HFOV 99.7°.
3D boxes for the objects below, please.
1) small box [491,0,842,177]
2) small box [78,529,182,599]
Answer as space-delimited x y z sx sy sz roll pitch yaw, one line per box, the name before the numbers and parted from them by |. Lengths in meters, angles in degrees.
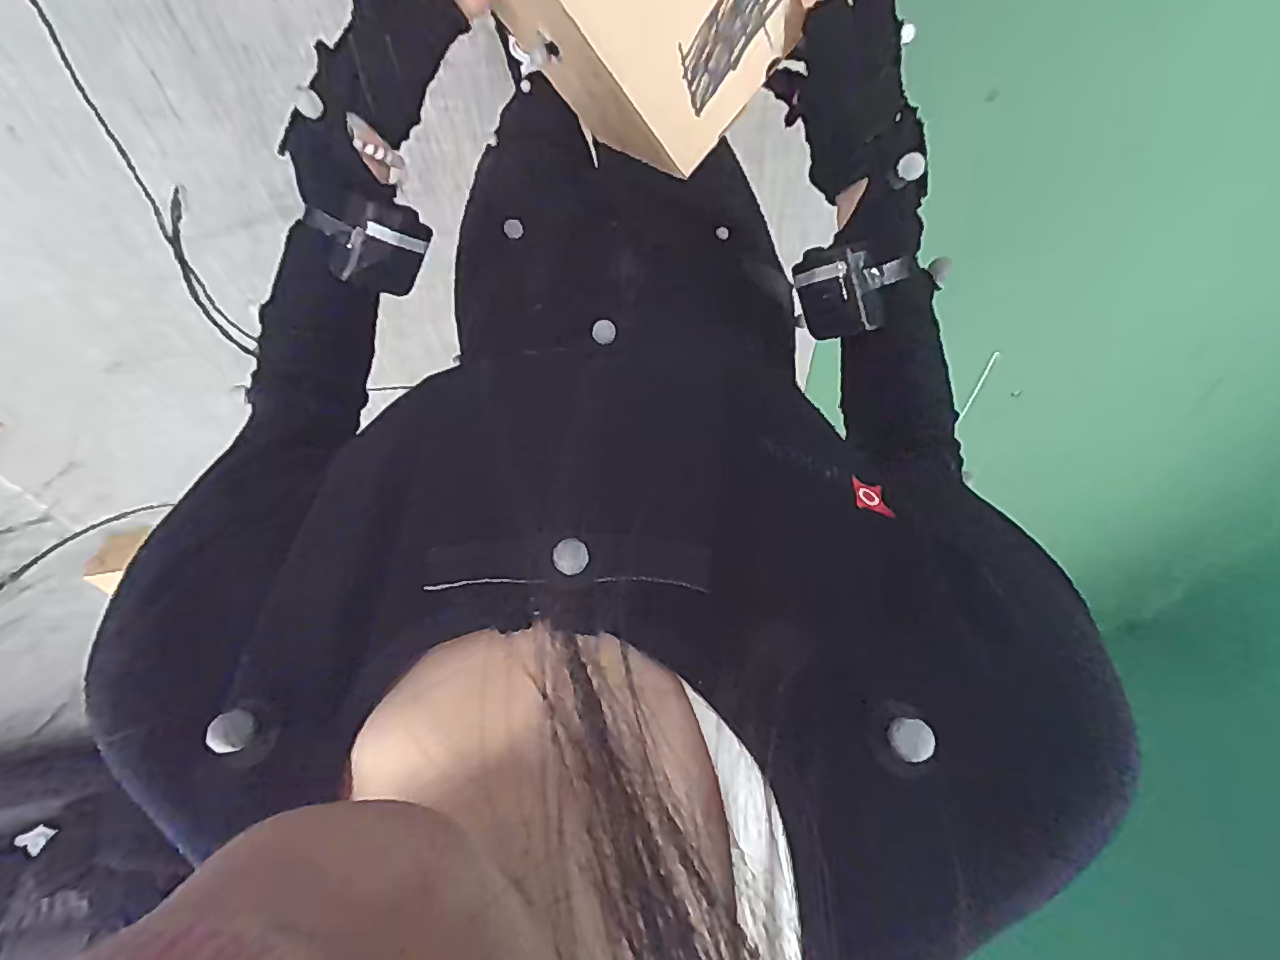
small box | 0.001 -0.335 0.333 0.168 0.176 0.179 -46 134 14
small box | -1.764 0.291 1.884 0.179 0.176 0.168 -9 141 -2
